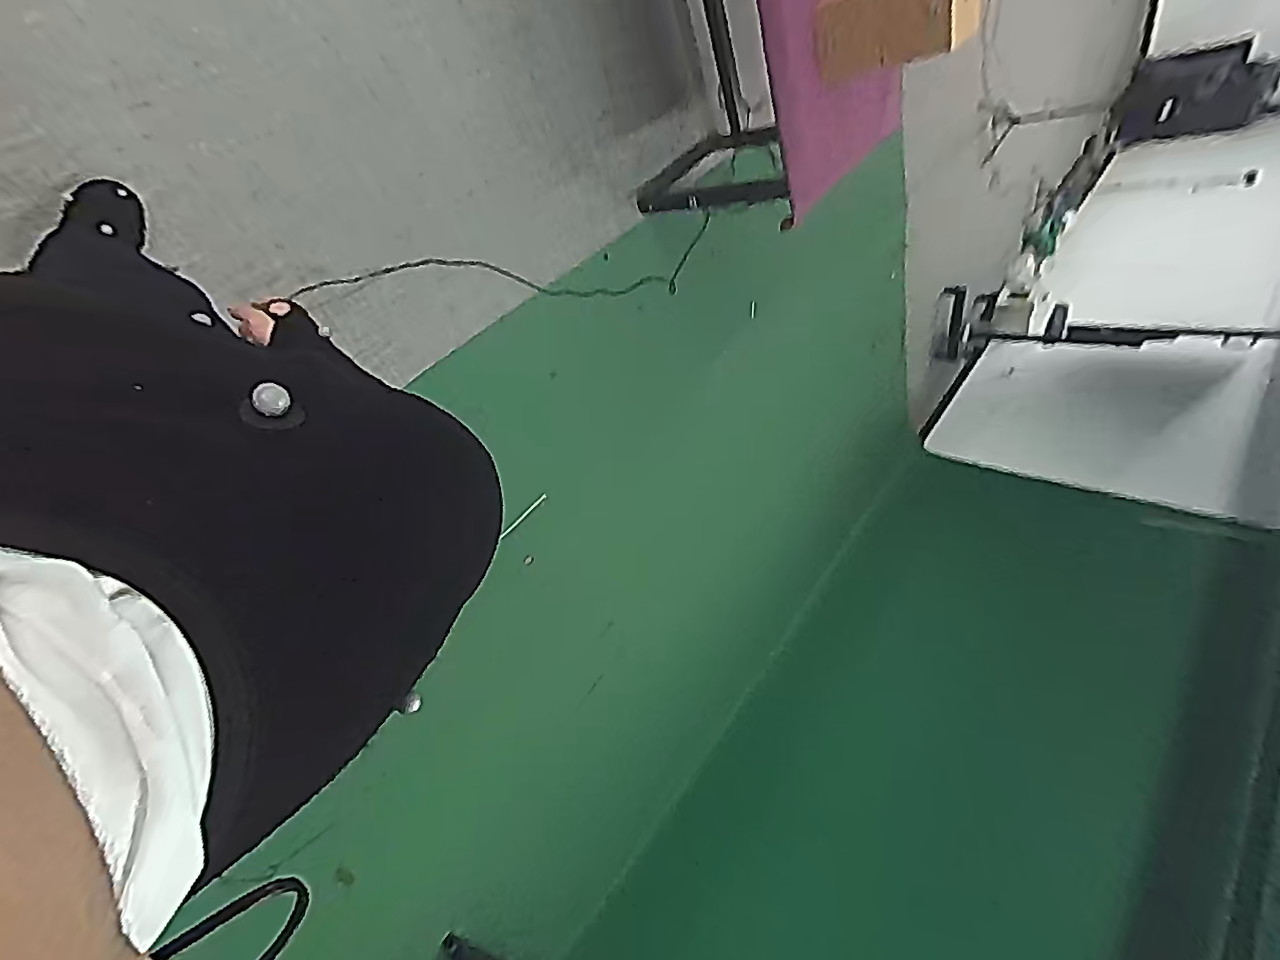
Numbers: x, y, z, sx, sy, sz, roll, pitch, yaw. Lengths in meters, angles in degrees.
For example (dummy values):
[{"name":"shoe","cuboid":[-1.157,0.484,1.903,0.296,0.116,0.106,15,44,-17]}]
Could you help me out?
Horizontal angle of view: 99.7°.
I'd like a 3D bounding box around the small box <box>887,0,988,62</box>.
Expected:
[{"name":"small box","cuboid":[0.701,-1.133,1.279,0.168,0.176,0.179,-45,133,-23]}]
